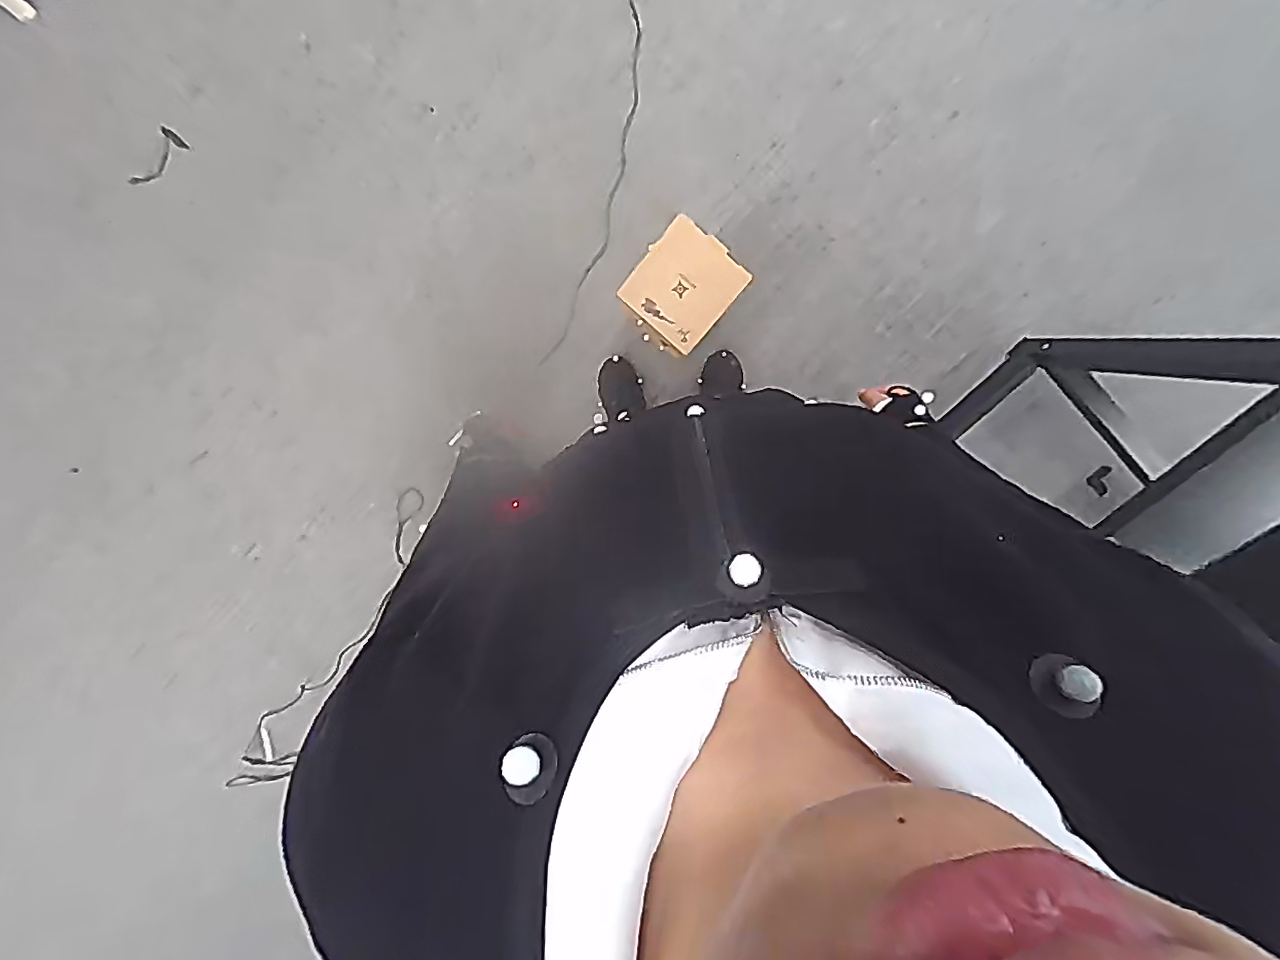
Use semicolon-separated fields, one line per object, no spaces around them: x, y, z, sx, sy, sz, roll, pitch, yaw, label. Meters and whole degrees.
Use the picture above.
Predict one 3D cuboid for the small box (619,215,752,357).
0.079;-0.349;1.007;0.168;0.176;0.179;41;101;-6;small box
